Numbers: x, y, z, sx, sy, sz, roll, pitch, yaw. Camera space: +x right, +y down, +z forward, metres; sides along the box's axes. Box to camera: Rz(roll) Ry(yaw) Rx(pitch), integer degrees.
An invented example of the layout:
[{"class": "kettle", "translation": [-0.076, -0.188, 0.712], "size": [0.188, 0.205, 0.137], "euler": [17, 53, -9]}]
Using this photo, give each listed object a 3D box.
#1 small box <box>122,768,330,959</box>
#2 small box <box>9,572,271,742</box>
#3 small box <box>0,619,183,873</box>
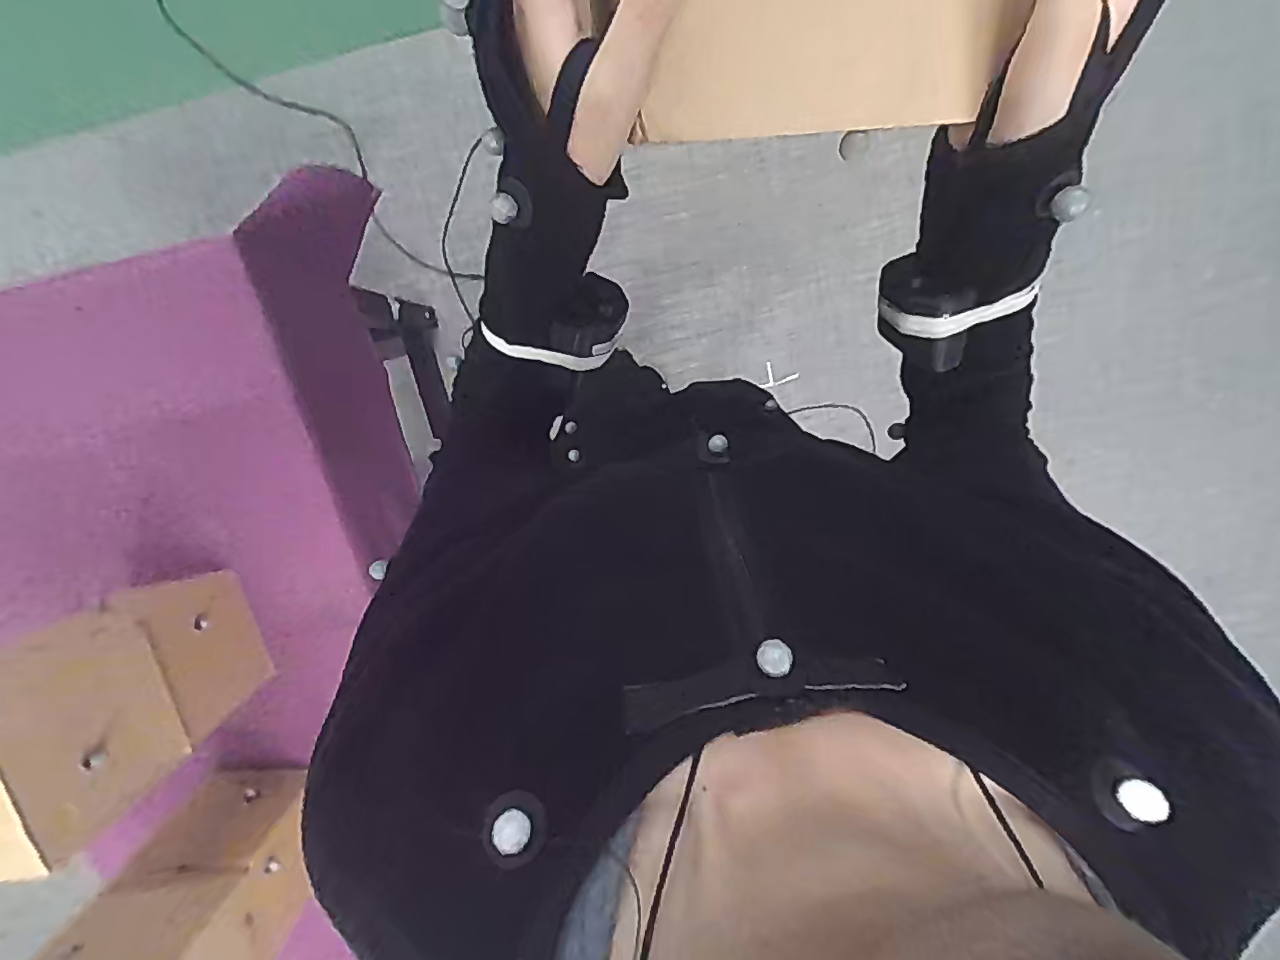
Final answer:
[{"class": "small box", "translation": [-0.586, 0.557, 0.793], "size": [0.168, 0.176, 0.179], "euler": [-2, 101, 0]}, {"class": "small box", "translation": [-0.648, 0.236, 0.726], "size": [0.168, 0.176, 0.179], "euler": [-11, 102, 3]}, {"class": "small box", "translation": [-0.640, 0.271, 0.566], "size": [0.168, 0.176, 0.179], "euler": [-9, 102, 2]}]
